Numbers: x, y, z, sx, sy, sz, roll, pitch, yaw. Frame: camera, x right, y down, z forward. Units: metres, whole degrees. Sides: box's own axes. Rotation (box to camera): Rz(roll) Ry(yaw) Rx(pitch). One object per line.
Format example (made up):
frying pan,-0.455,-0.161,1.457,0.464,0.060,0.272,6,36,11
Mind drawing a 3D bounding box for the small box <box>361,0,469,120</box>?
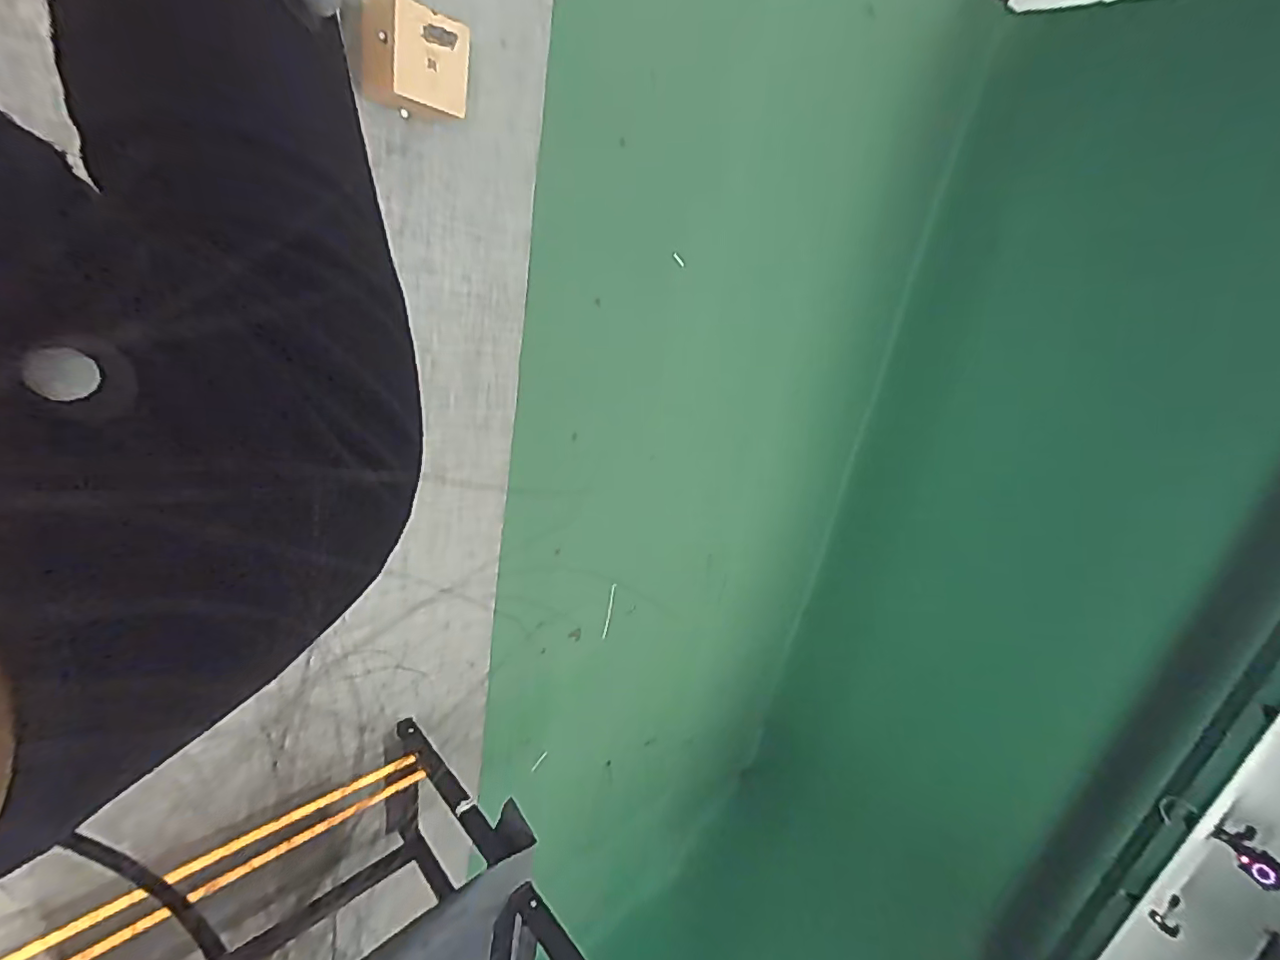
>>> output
small box,-0.499,-0.922,1.194,0.168,0.176,0.179,-12,121,-46
